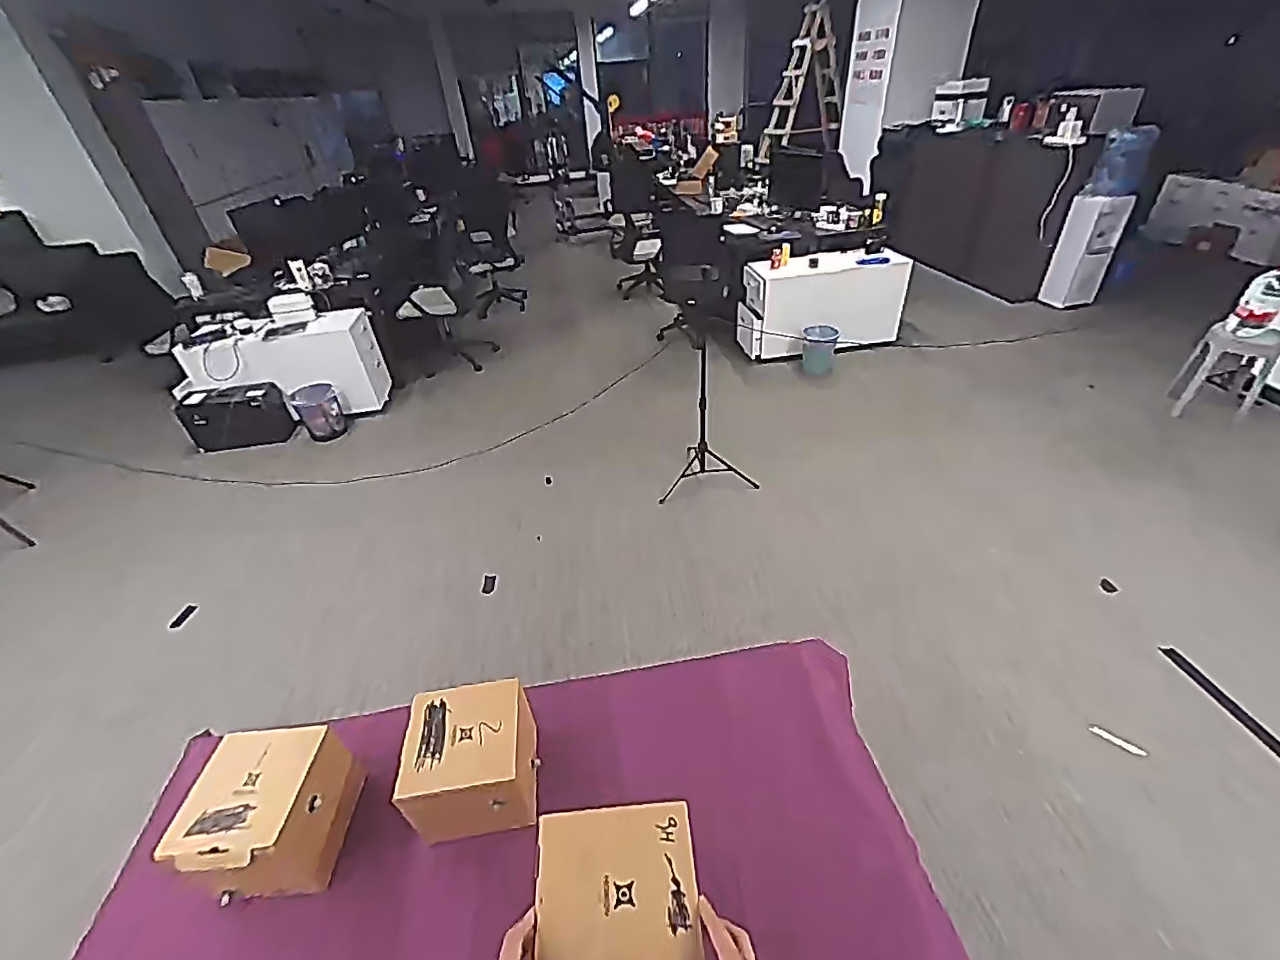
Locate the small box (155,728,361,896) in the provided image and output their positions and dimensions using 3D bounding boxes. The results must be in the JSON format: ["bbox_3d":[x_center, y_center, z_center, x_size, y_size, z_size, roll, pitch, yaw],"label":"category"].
[{"bbox_3d":[-0.562,0.511,0.830,0.168,0.176,0.179,-4,36,0],"label":"small box"}]

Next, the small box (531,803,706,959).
[{"bbox_3d":[-0.020,0.495,0.622,0.179,0.176,0.168,-5,44,-1],"label":"small box"}]
